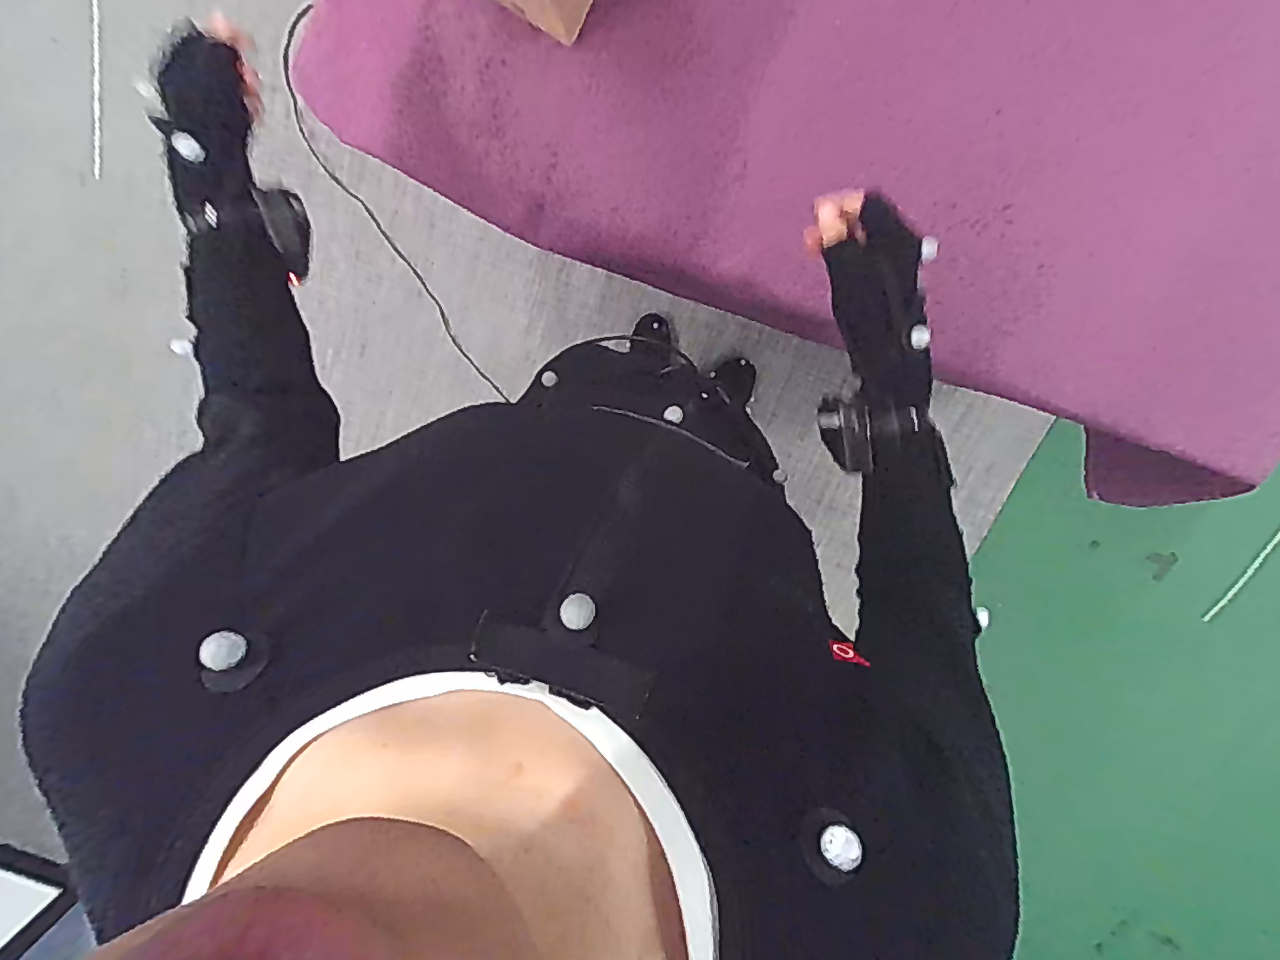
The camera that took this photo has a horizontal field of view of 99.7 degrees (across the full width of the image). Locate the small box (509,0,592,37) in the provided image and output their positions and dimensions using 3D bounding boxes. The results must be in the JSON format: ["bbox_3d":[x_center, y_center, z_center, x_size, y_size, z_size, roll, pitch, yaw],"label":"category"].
[{"bbox_3d":[-0.109,-0.555,0.481,0.168,0.176,0.179,29,109,-4],"label":"small box"}]
